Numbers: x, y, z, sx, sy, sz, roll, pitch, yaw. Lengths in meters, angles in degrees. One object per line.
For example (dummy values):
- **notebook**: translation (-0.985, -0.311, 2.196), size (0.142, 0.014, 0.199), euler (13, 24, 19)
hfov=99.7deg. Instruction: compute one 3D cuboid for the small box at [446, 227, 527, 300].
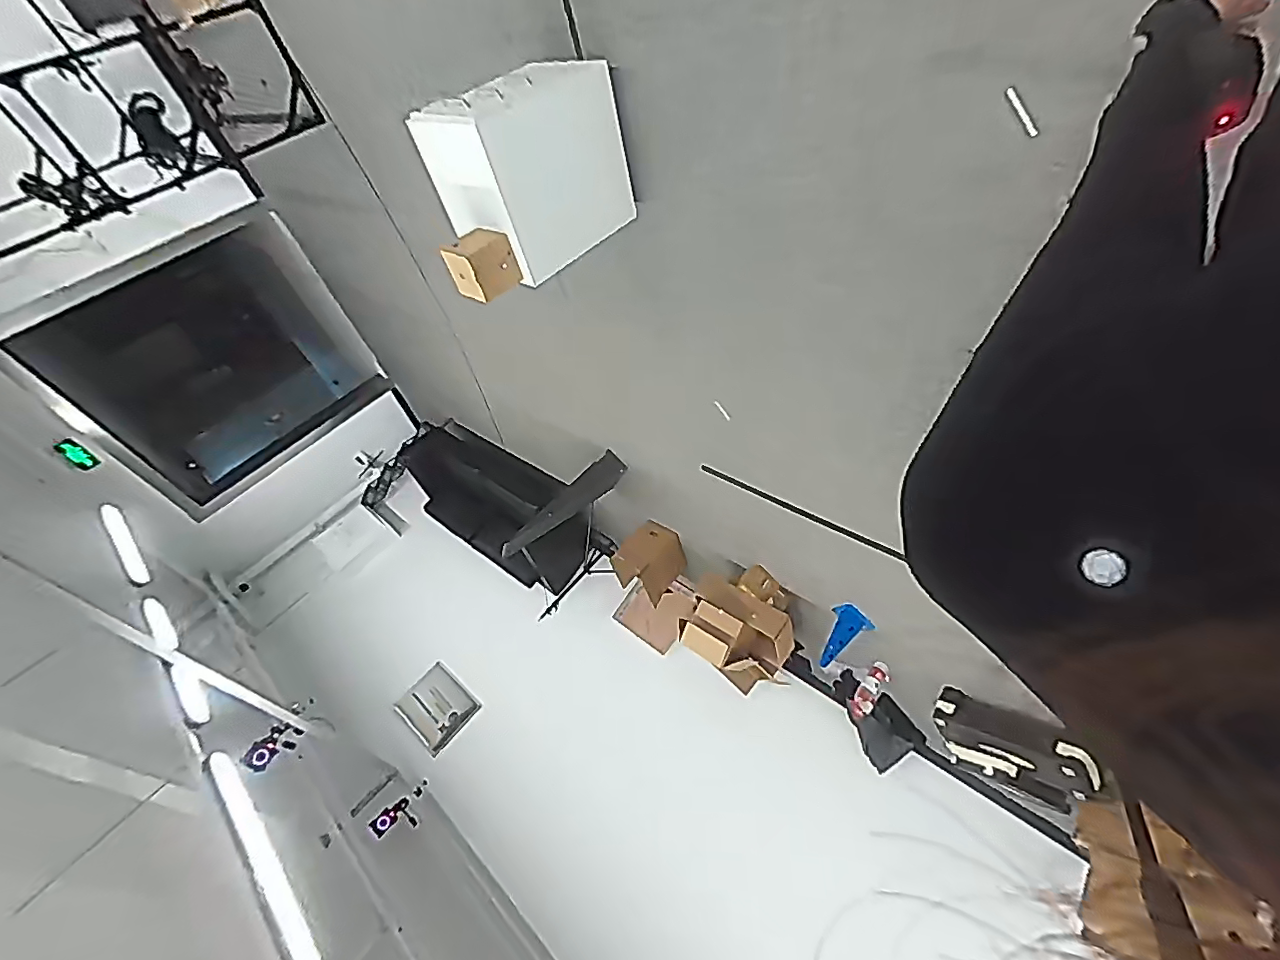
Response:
- **small box**: translation (-0.525, -0.753, 1.866), size (0.179, 0.176, 0.168), euler (28, 152, 35)
